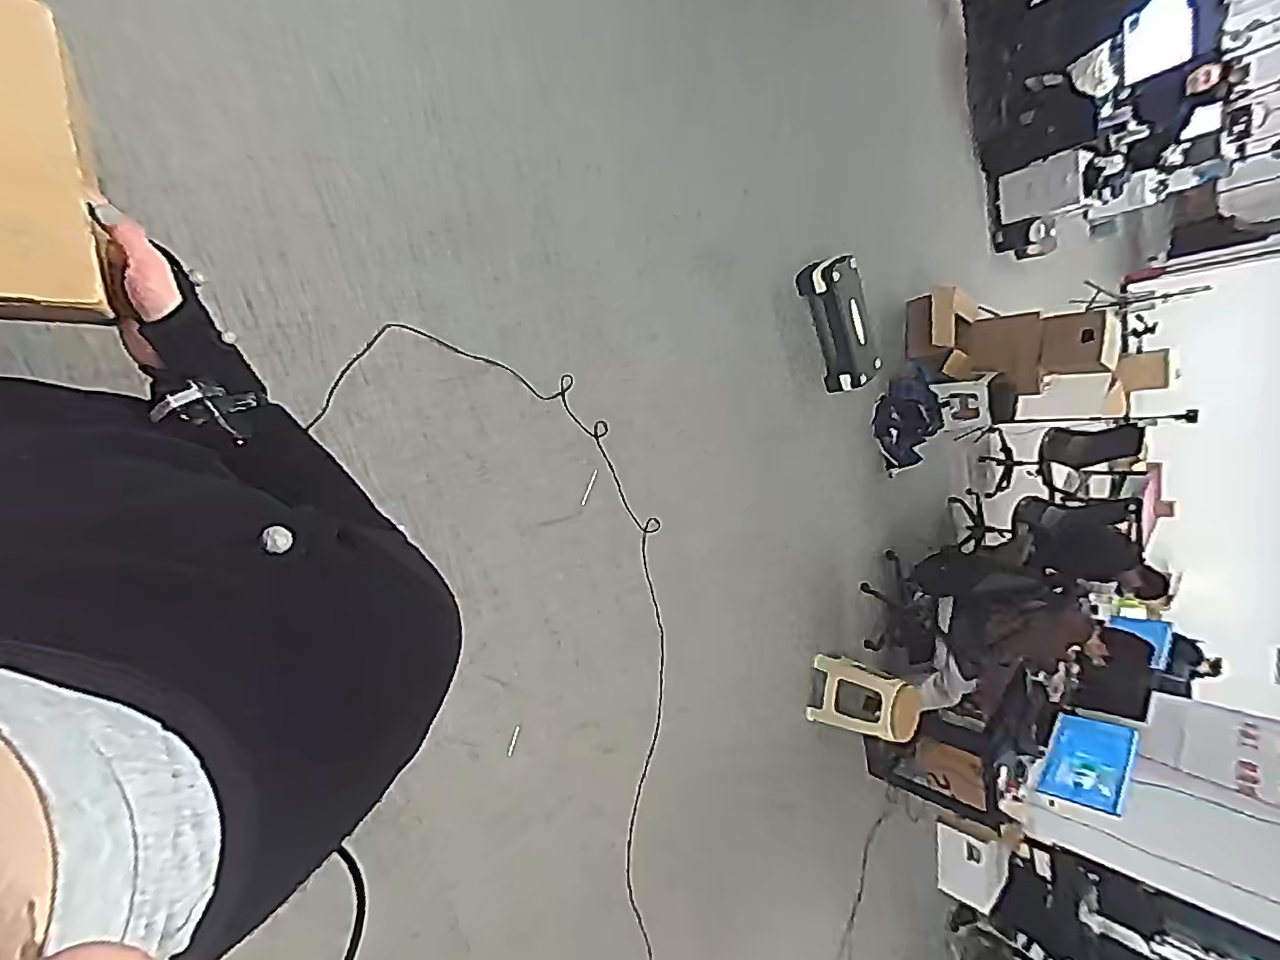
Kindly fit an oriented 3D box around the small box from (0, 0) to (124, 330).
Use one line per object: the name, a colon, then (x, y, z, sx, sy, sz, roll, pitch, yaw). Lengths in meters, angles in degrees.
small box: (-0.452, -0.191, 0.340, 0.168, 0.176, 0.179, -10, 104, -41)
